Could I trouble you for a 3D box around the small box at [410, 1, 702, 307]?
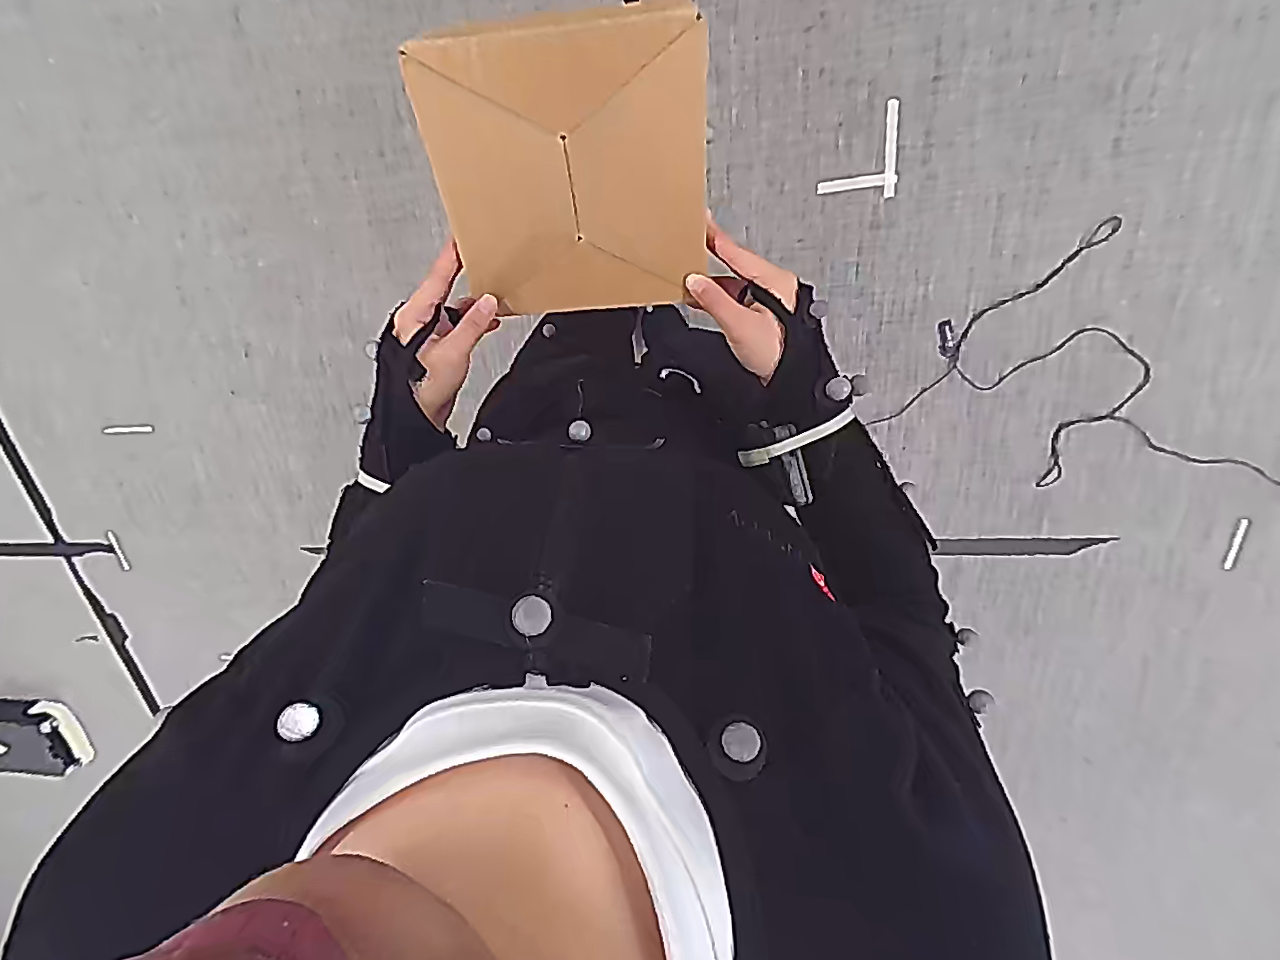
[{"bbox_3d":[-0.047,-0.248,0.415,0.179,0.176,0.168,-3,134,4],"label":"small box"}]
